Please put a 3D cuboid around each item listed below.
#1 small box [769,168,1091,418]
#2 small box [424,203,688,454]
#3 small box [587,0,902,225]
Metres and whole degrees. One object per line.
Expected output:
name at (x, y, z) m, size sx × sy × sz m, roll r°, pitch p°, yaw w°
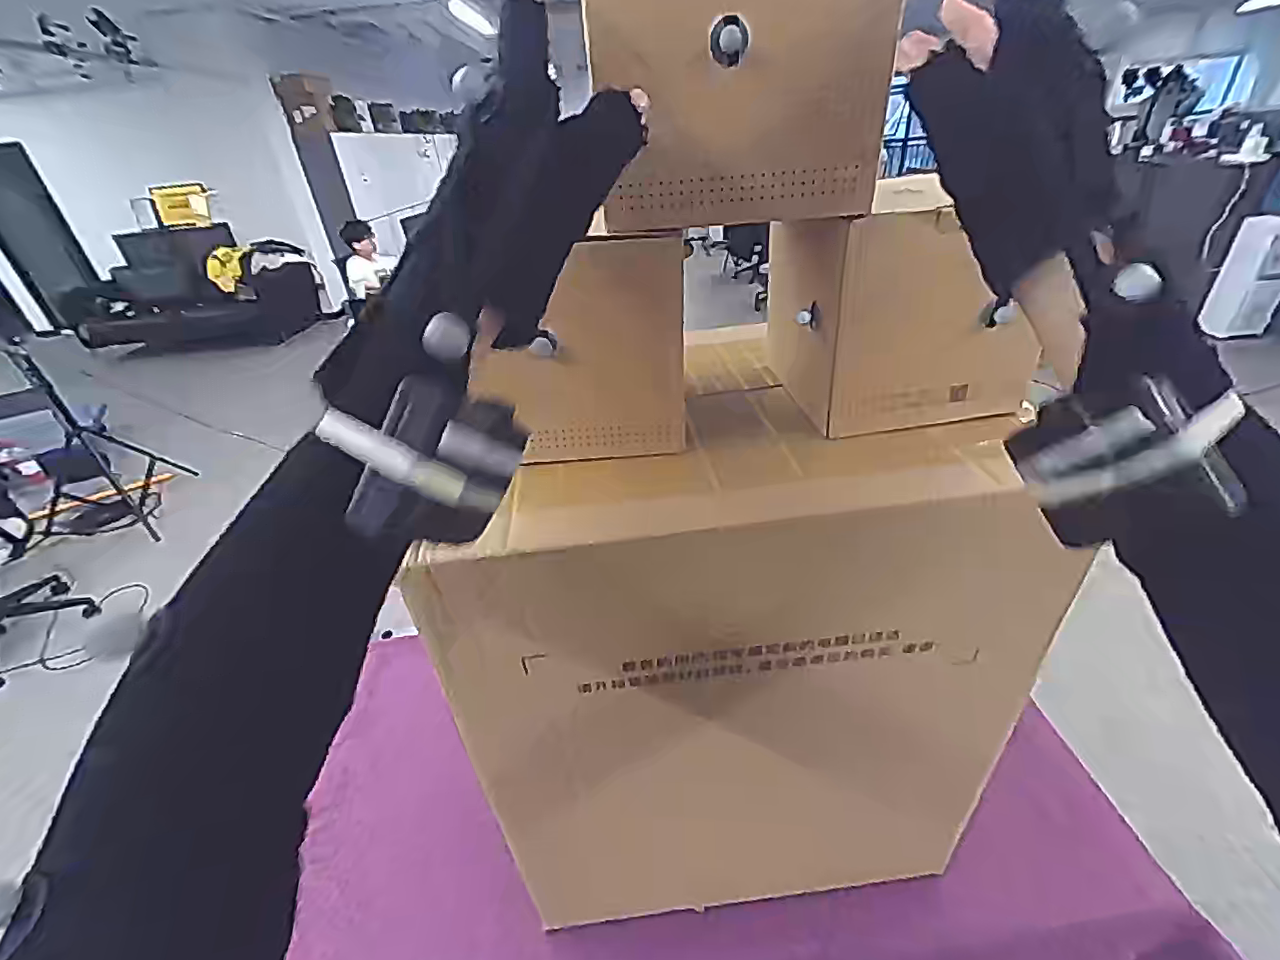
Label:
small box at (0.217, -0.160, 0.464) m, size 0.168 × 0.176 × 0.179 m, roll -7°, pitch 31°, yaw -3°
small box at (-0.054, -0.131, 0.459) m, size 0.179 × 0.176 × 0.168 m, roll -4°, pitch 33°, yaw -1°
small box at (0.061, -0.281, 0.370) m, size 0.179 × 0.176 × 0.168 m, roll -3°, pitch 32°, yaw 3°
